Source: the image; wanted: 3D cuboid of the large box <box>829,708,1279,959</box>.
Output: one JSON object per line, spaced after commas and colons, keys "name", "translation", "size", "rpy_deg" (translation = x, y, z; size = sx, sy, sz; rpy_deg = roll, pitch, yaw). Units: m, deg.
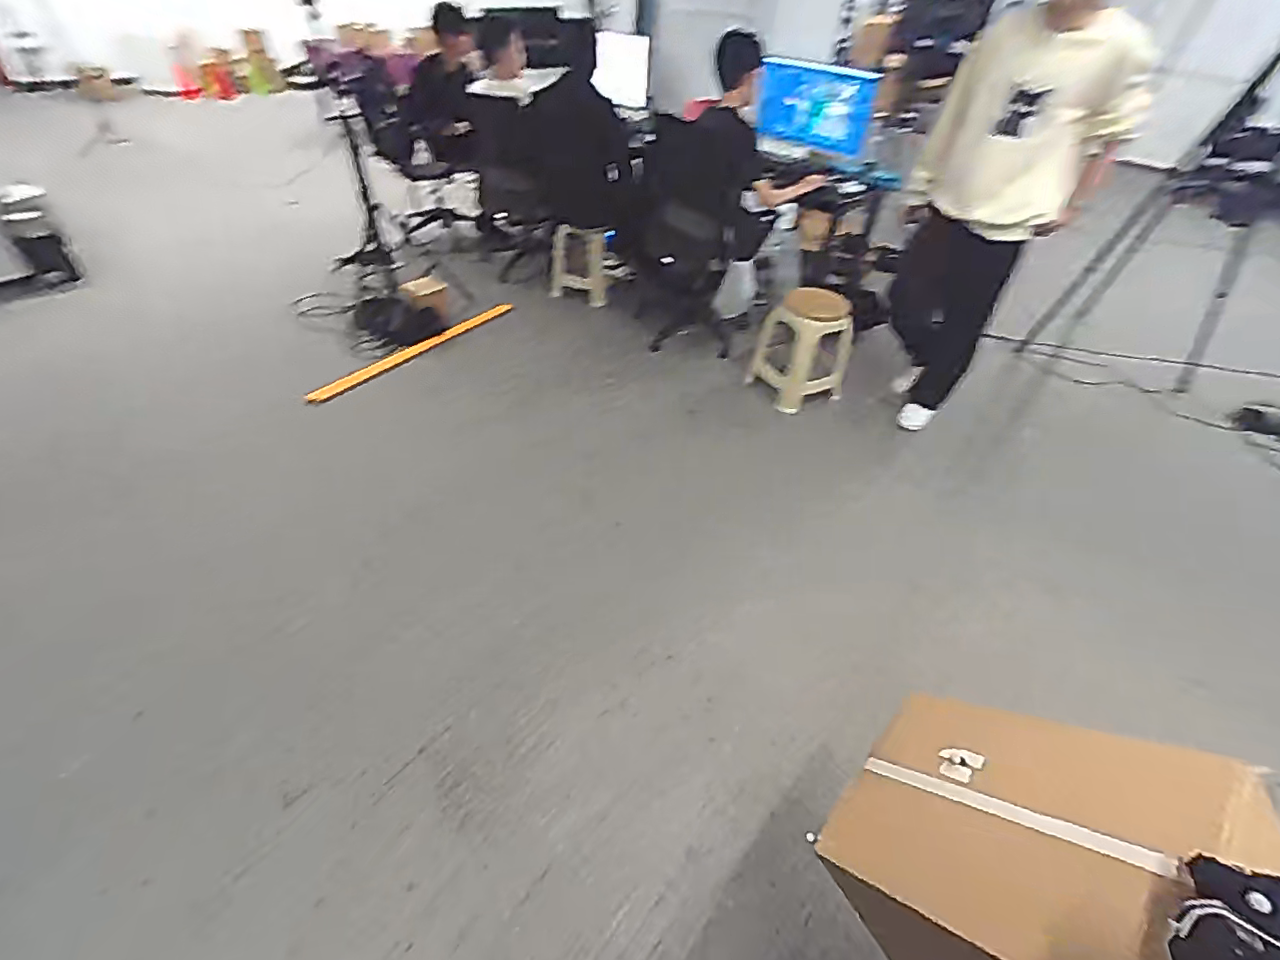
{"name": "large box", "translation": [0.548, 0.554, 0.695], "size": [0.320, 0.408, 0.320], "rpy_deg": [-37, 97, -28]}
